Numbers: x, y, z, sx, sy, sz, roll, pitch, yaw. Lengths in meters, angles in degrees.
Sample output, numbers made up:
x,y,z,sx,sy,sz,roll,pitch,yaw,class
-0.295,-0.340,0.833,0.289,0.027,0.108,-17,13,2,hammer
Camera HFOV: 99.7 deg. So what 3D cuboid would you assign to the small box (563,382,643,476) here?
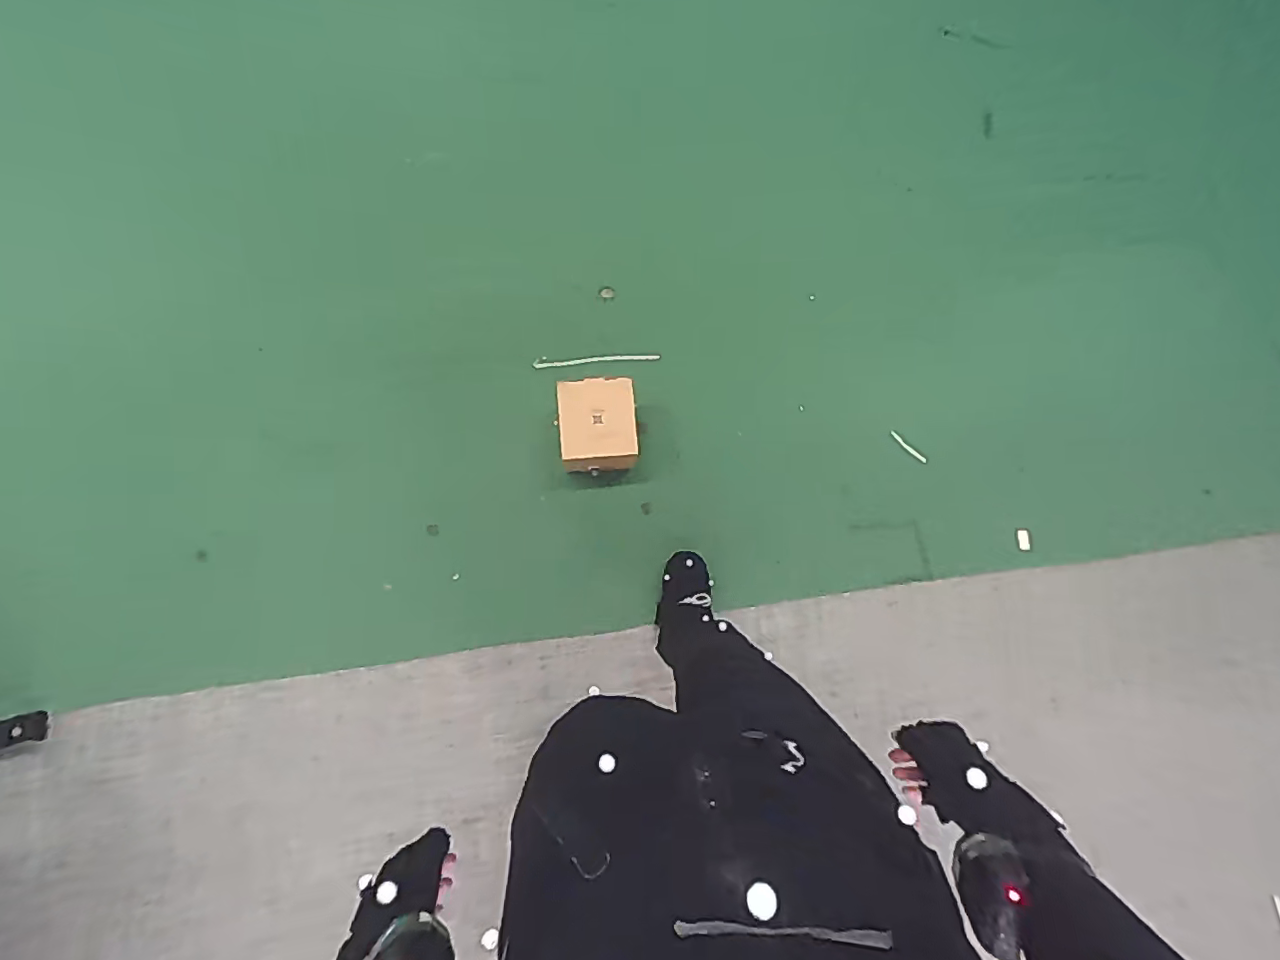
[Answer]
x,y,z,sx,sy,sz,roll,pitch,yaw,class
-0.088,-0.113,1.252,0.168,0.176,0.179,-5,82,-5,small box
